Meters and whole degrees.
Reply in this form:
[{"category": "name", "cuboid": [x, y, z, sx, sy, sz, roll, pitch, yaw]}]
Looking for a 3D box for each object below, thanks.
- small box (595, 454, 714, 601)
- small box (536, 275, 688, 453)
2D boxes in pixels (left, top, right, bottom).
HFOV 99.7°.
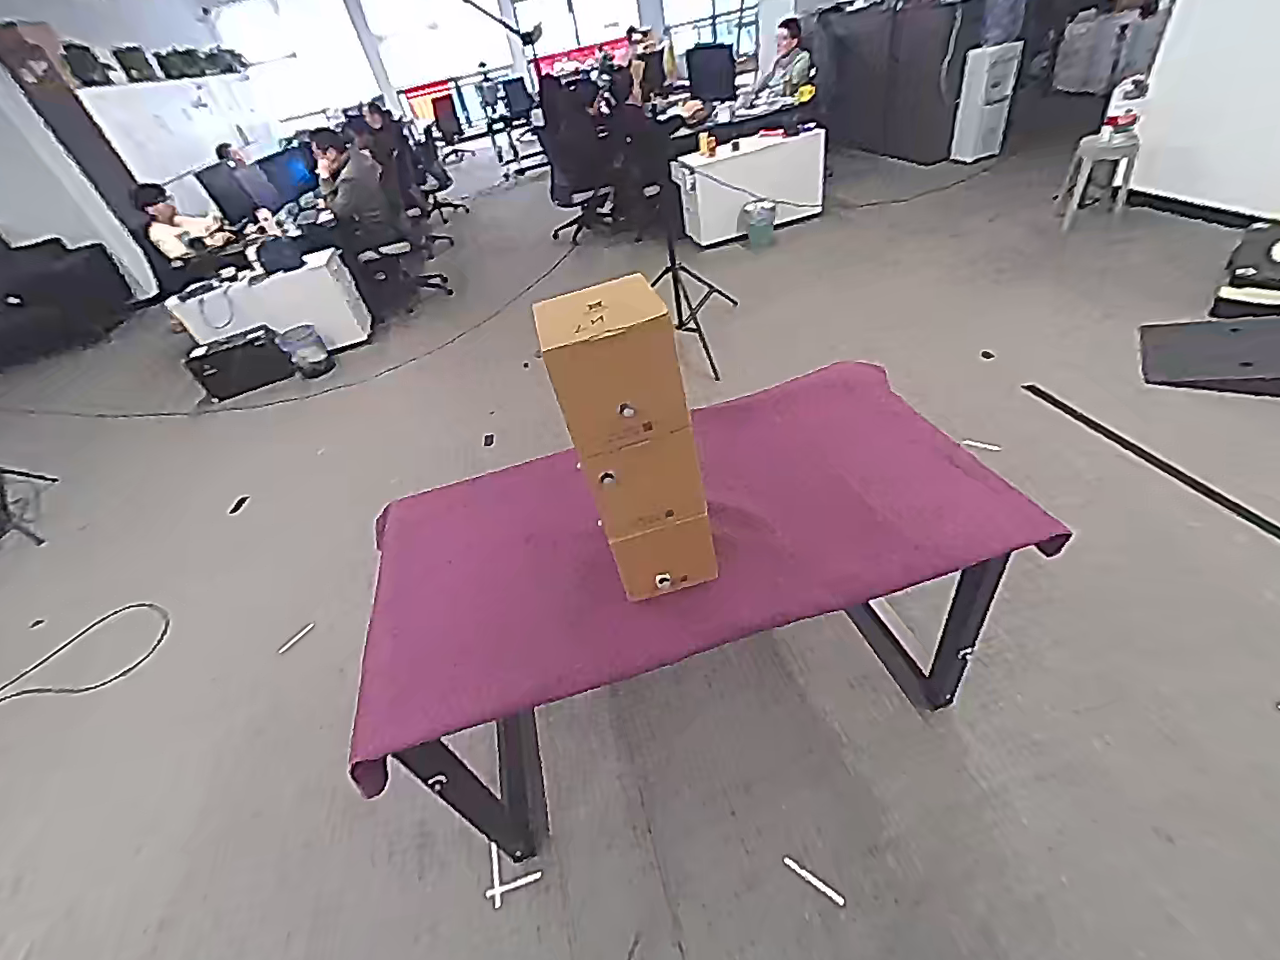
[{"category": "small box", "cuboid": [0.026, 0.085, 0.972, 0.168, 0.176, 0.179, -17, 40, -2]}, {"category": "small box", "cuboid": [-0.041, -0.166, 0.769, 0.168, 0.176, 0.179, -17, 39, -3]}]
